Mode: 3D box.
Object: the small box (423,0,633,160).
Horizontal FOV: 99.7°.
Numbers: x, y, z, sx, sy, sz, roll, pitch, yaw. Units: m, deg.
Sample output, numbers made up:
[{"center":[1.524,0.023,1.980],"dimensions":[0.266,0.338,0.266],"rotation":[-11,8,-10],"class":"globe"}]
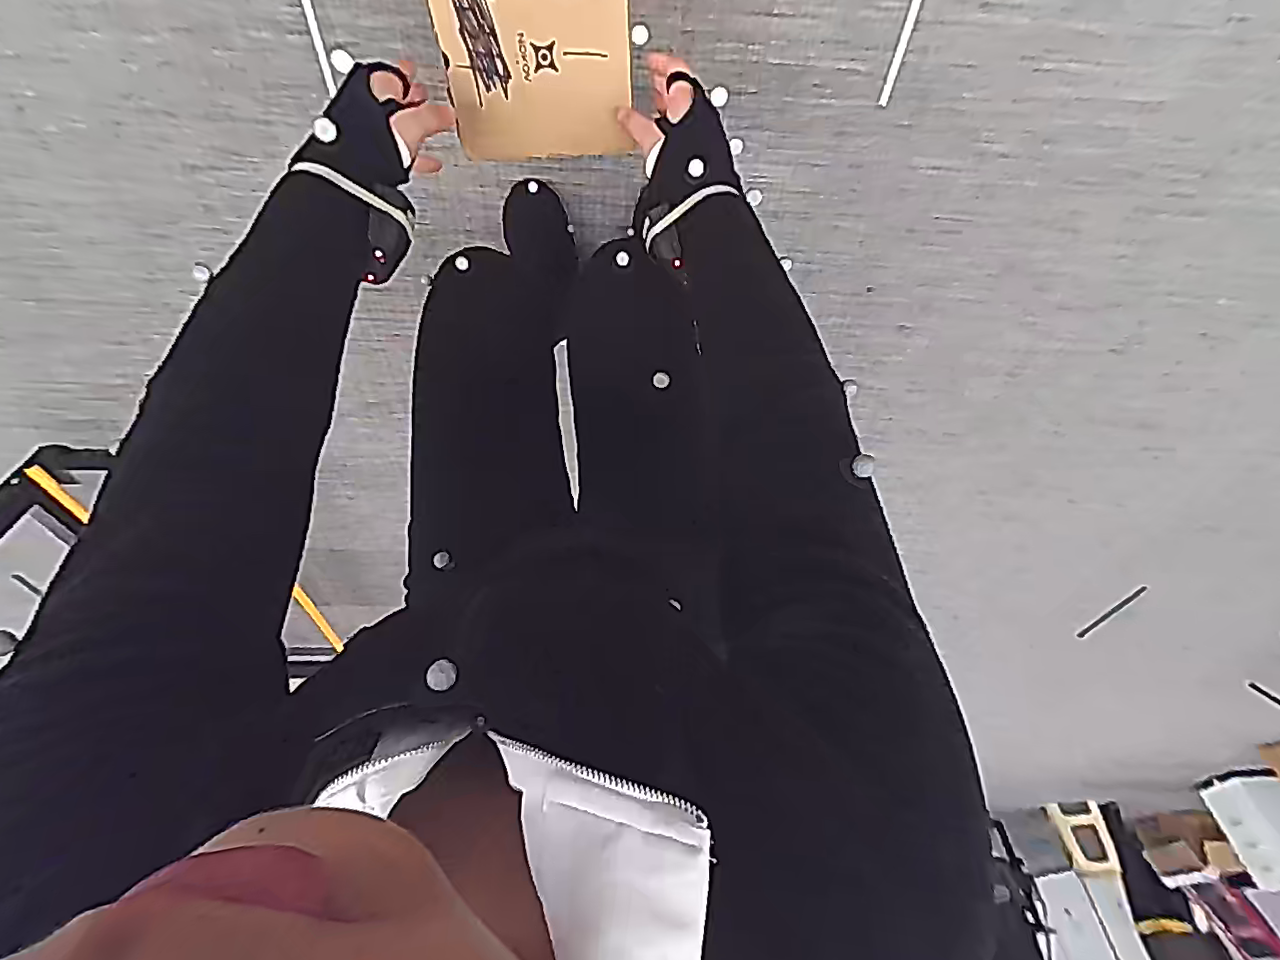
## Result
[{"center":[-0.097,-0.440,0.543],"dimensions":[0.179,0.176,0.168],"rotation":[-2,138,1],"class":"small box"}]
